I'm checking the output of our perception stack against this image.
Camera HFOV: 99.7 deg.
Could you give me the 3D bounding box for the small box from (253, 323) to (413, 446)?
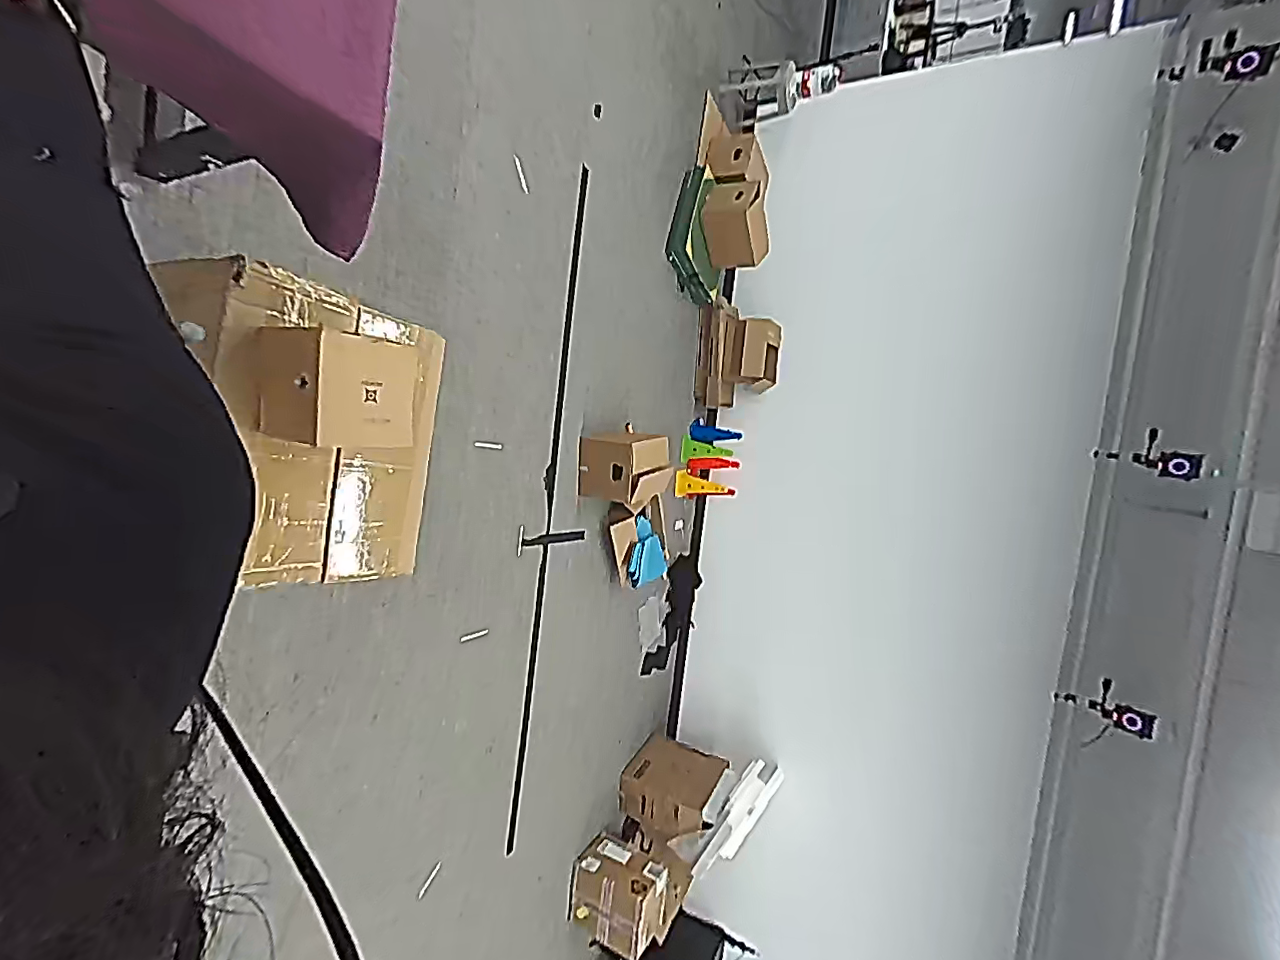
[{"bbox_3d":[-0.499,-0.153,0.880,0.168,0.176,0.179,-5,103,-60],"label":"small box"}]
